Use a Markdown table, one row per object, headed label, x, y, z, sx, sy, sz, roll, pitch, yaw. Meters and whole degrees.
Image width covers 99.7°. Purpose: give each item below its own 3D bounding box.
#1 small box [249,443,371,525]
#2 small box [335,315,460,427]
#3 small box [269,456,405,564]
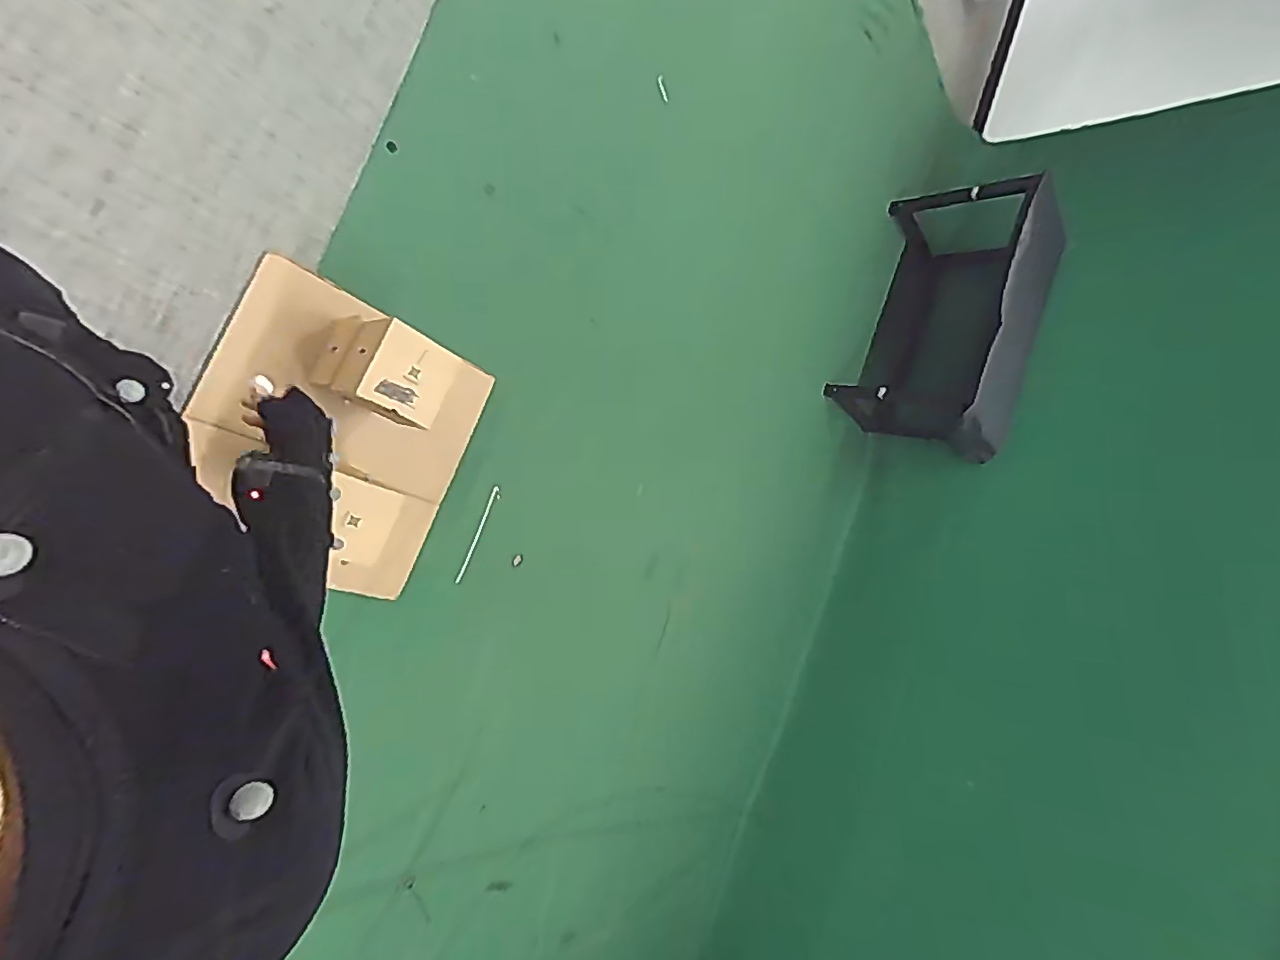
| label | x | y | z | sx | sy | sz | roll | pitch | yaw |
| --- | --- | --- | --- | --- | --- | --- | --- | --- | --- |
| small box | -0.762 | 0.024 | 1.247 | 0.179 | 0.176 | 0.168 | 26 | 82 | -45 |
| small box | -0.530 | -0.232 | 1.168 | 0.168 | 0.176 | 0.179 | 32 | 76 | -44 |
| small box | -0.640 | 0.059 | 1.140 | 0.179 | 0.176 | 0.168 | 29 | 80 | -45 |
